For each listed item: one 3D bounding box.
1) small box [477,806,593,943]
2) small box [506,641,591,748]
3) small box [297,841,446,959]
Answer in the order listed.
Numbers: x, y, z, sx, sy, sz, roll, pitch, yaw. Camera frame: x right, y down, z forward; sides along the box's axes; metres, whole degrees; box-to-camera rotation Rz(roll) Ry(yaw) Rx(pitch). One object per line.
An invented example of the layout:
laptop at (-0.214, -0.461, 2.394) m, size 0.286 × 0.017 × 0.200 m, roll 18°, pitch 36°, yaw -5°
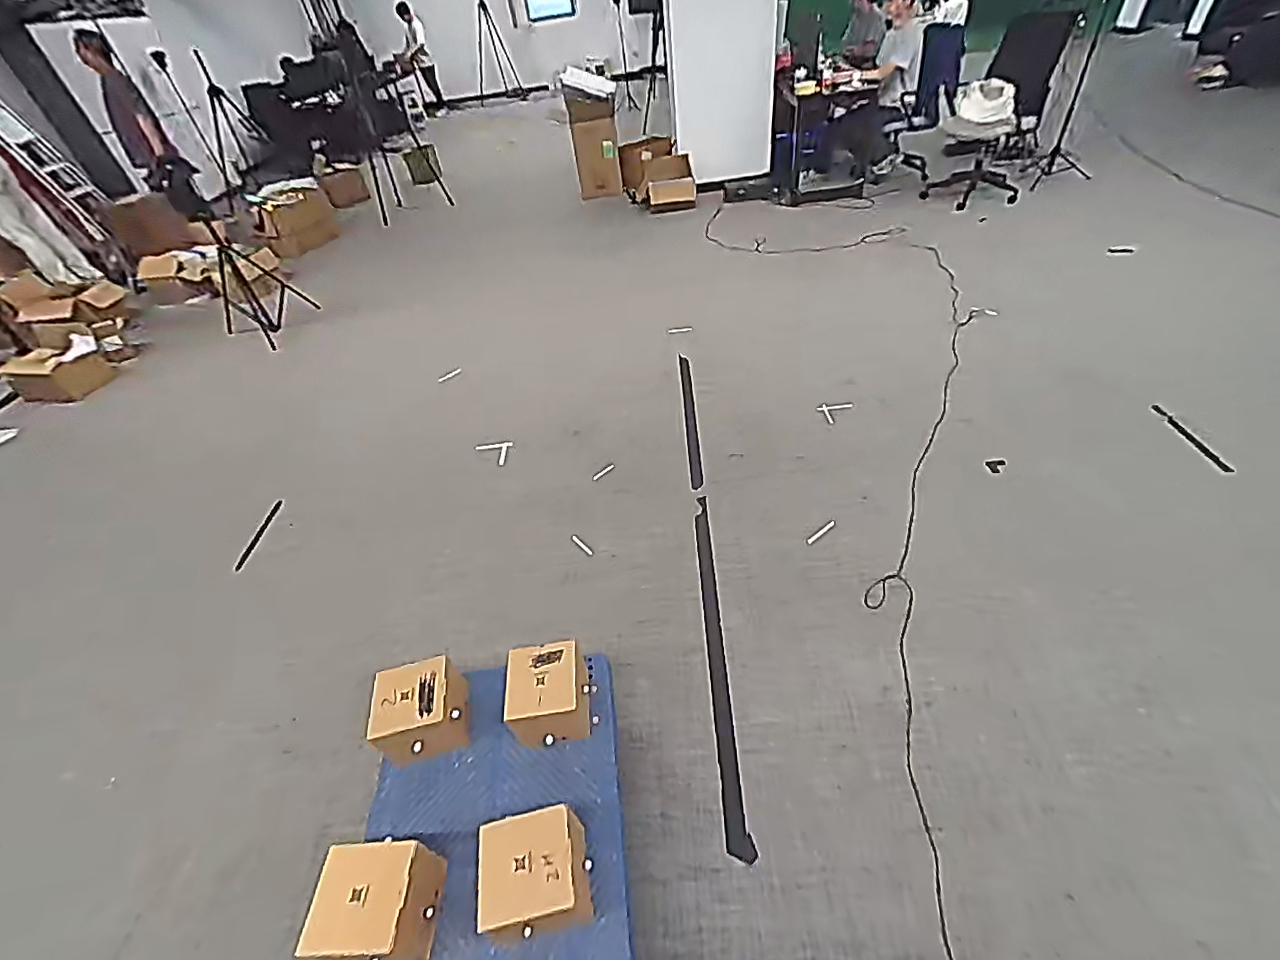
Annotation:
small box at (-0.198, 0.762, 1.042) m, size 0.179 × 0.176 × 0.168 m, roll -13°, pitch 43°, yaw -3°
small box at (-0.214, 0.518, 1.305) m, size 0.168 × 0.176 × 0.179 m, roll -9°, pitch 44°, yaw 1°
small box at (-0.501, 0.817, 1.039) m, size 0.179 × 0.176 × 0.168 m, roll -5°, pitch 43°, yaw 3°
